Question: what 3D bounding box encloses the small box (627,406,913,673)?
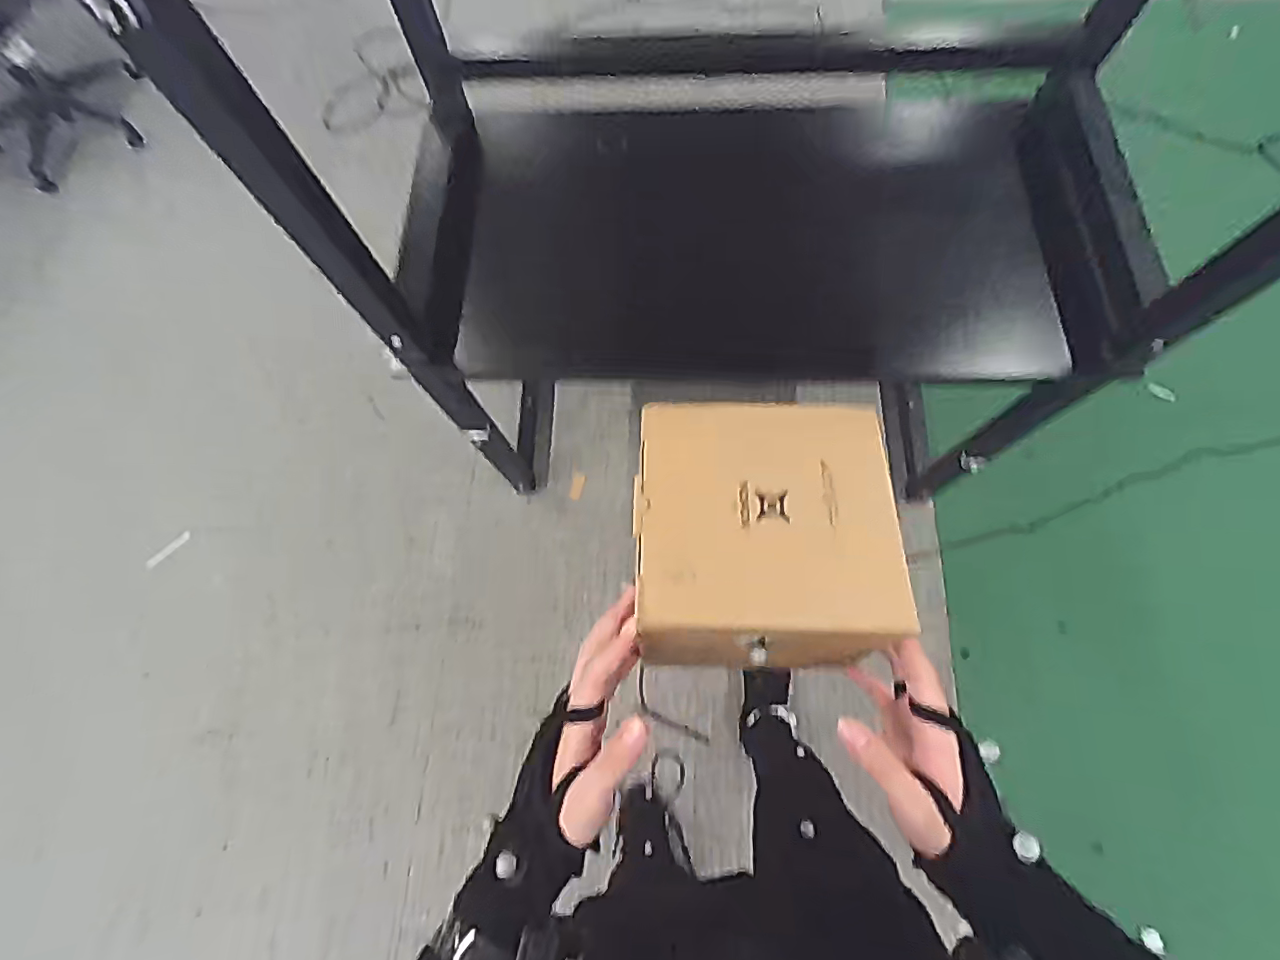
[{"bbox_3d":[0.084,0.057,0.436,0.179,0.176,0.168,2,63,1],"label":"small box"}]
